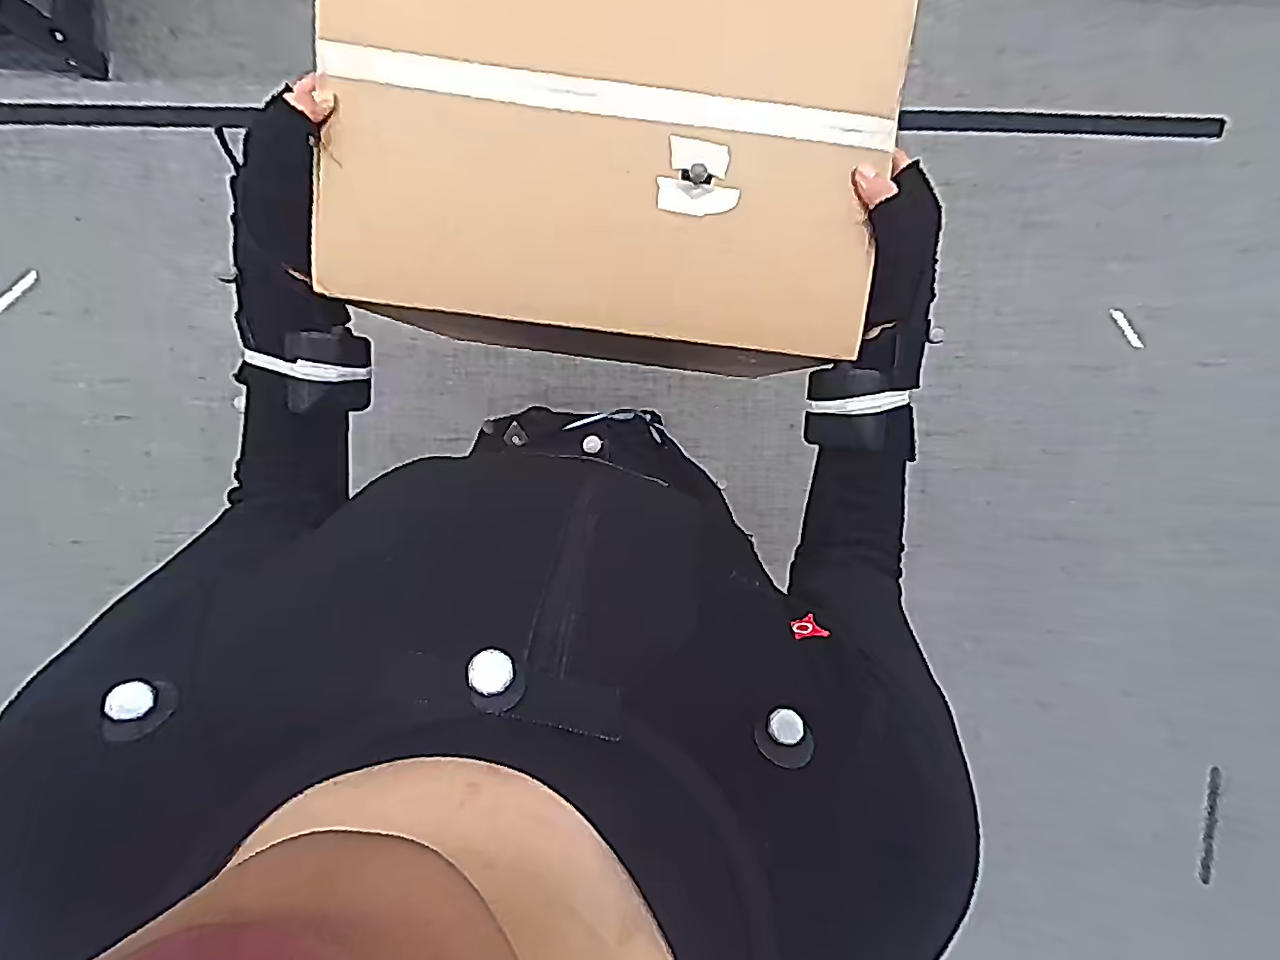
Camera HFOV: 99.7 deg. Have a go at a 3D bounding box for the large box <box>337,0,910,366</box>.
[{"bbox_3d":[-0.020,-0.296,0.536,0.408,0.320,0.320,6,99,-3],"label":"large box"}]
